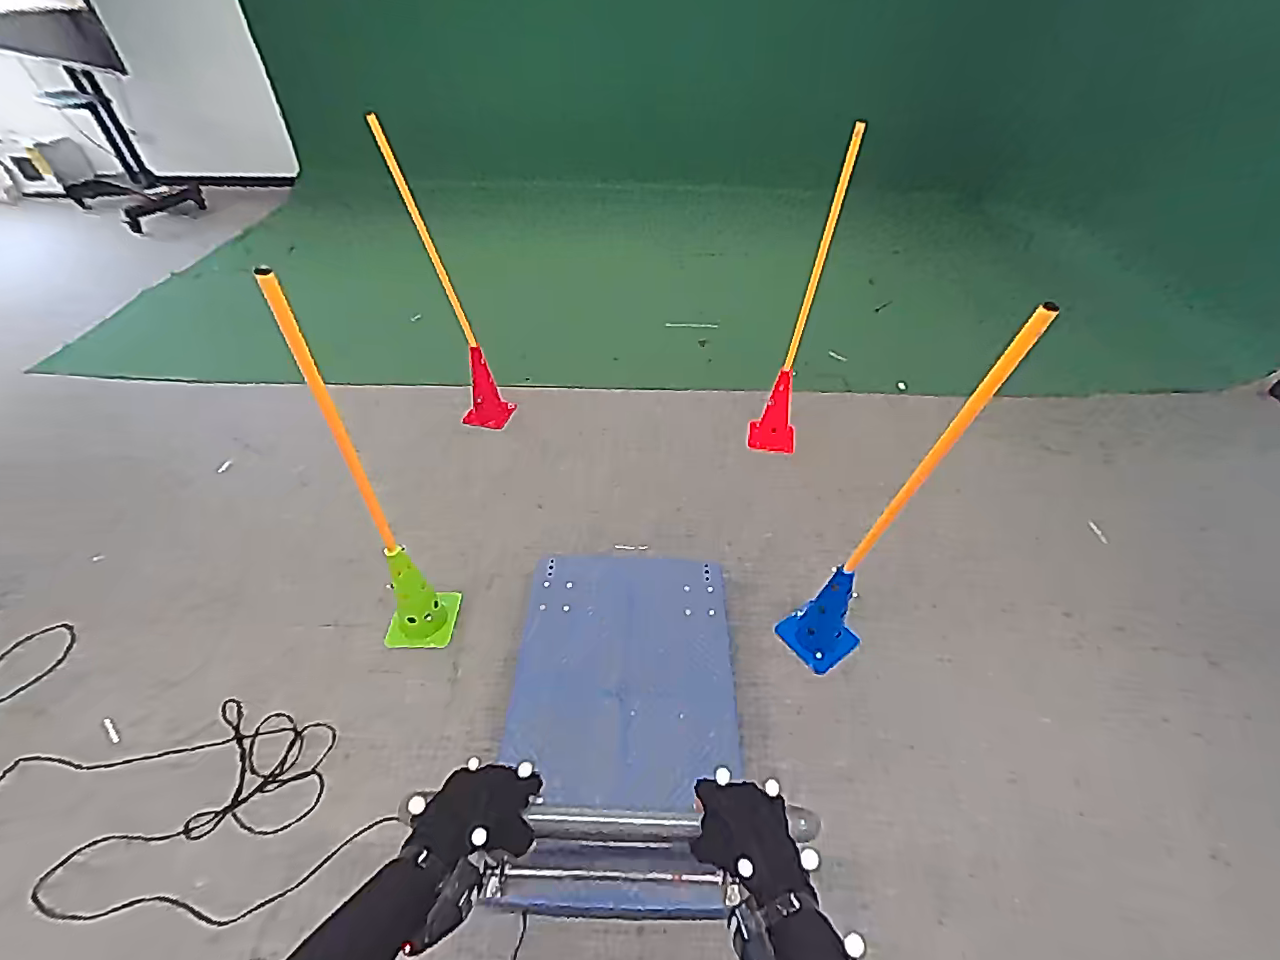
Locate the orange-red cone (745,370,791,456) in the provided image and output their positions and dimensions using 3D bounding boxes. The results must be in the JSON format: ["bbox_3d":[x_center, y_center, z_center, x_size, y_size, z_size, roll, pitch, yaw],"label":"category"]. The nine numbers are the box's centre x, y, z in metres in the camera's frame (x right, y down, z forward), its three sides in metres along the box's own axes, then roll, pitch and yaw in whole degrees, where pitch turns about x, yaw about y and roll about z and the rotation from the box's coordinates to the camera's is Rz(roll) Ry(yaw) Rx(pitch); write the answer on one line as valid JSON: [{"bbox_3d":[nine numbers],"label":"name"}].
[{"bbox_3d":[0.573,-0.303,2.294,0.198,0.360,0.199,8,45,8],"label":"orange-red cone"}]
